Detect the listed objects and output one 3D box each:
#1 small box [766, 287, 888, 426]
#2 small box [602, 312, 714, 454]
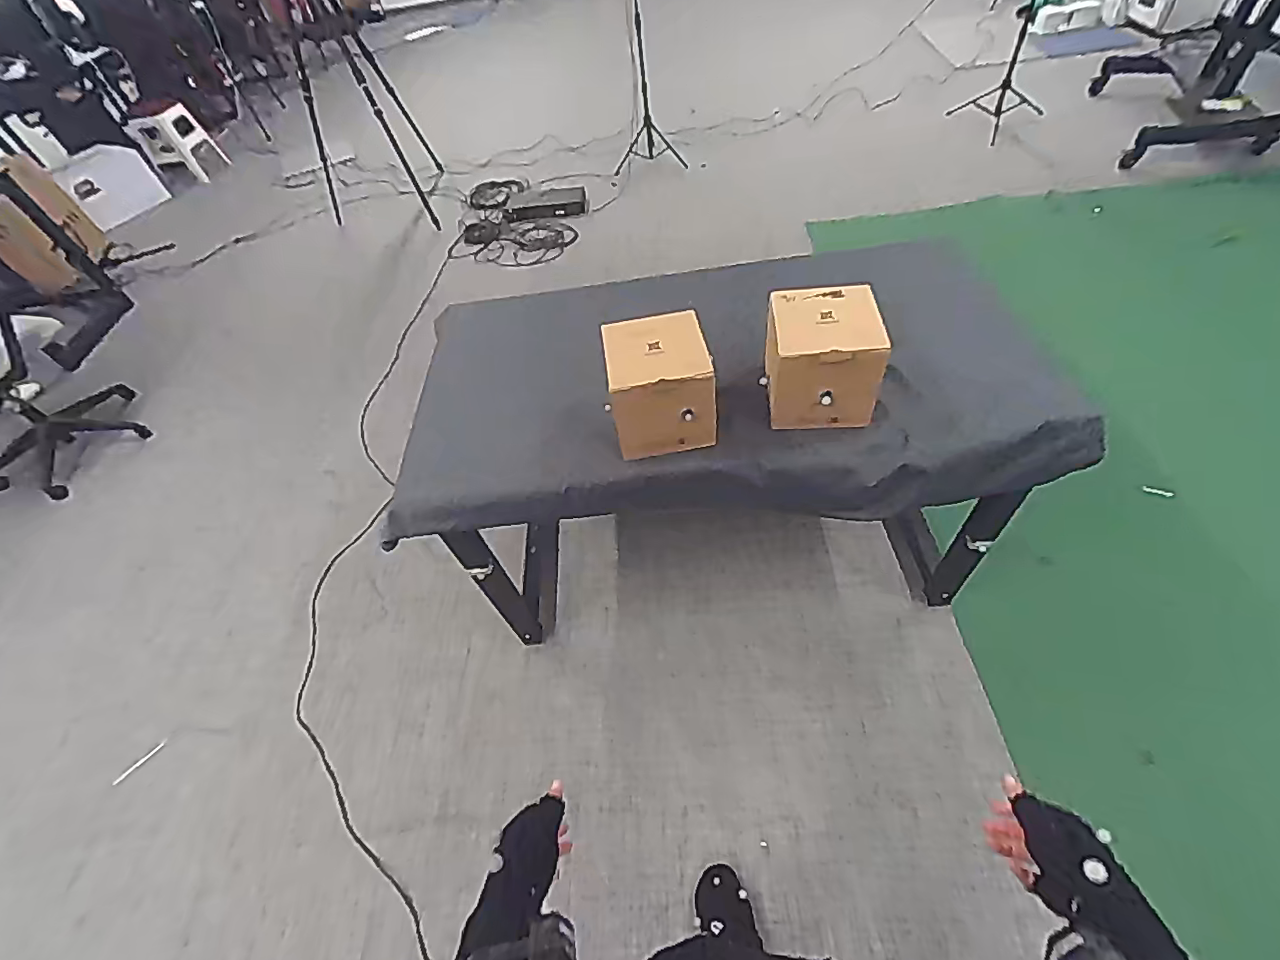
[{"bbox_3d":[0.309,-0.205,0.930,0.168,0.176,0.179,-1,52,8],"label":"small box"},{"bbox_3d":[0.033,-0.161,0.937,0.168,0.176,0.179,-10,49,-1],"label":"small box"}]
